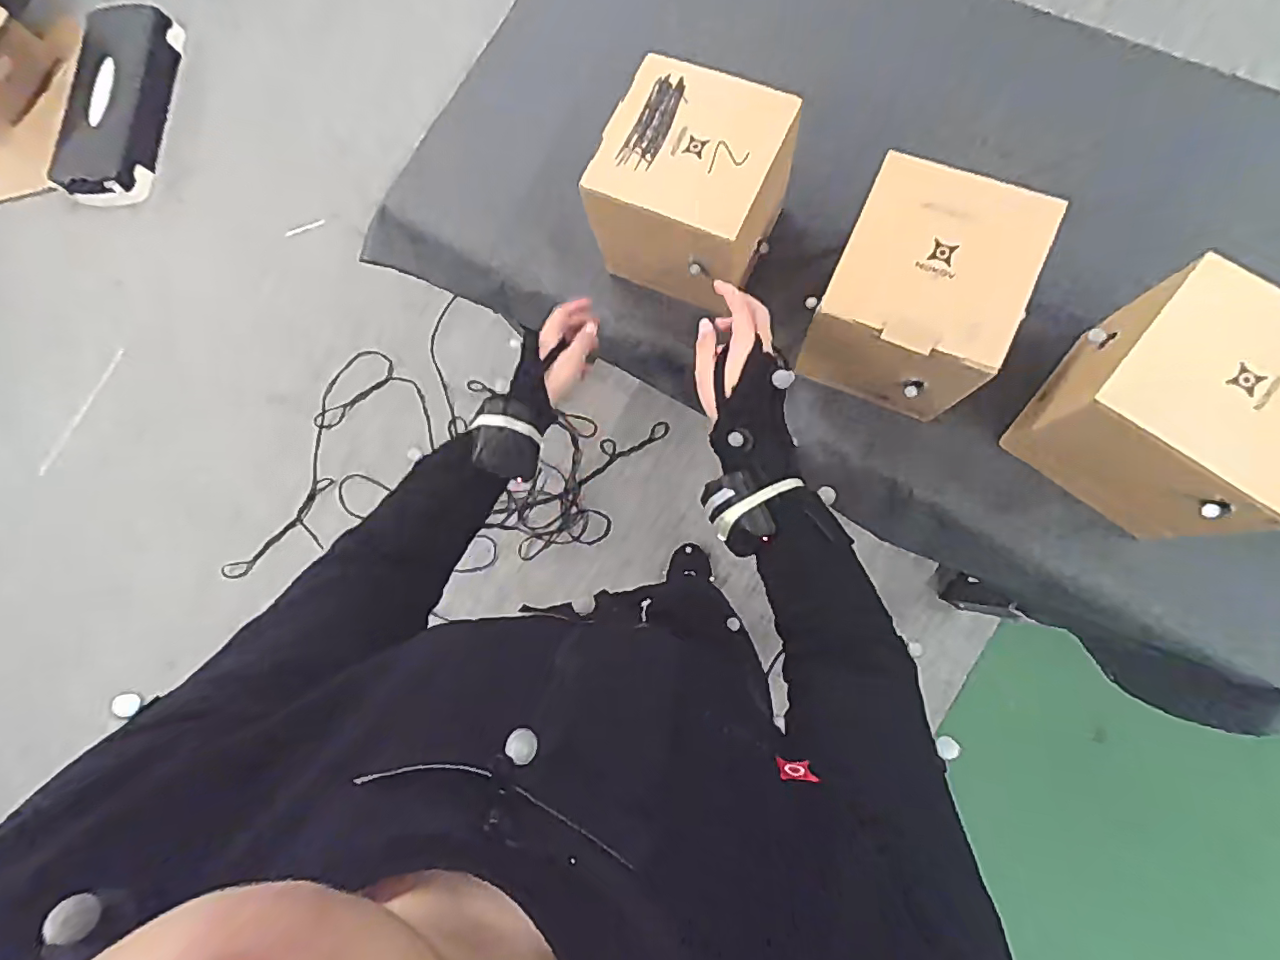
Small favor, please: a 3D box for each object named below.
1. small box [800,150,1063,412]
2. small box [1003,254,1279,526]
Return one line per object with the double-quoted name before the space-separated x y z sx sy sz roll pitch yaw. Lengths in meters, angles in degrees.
"small box" 0.282 -0.192 0.570 0.168 0.176 0.179 23 84 9
"small box" 0.506 -0.068 0.520 0.179 0.176 0.168 39 88 11
